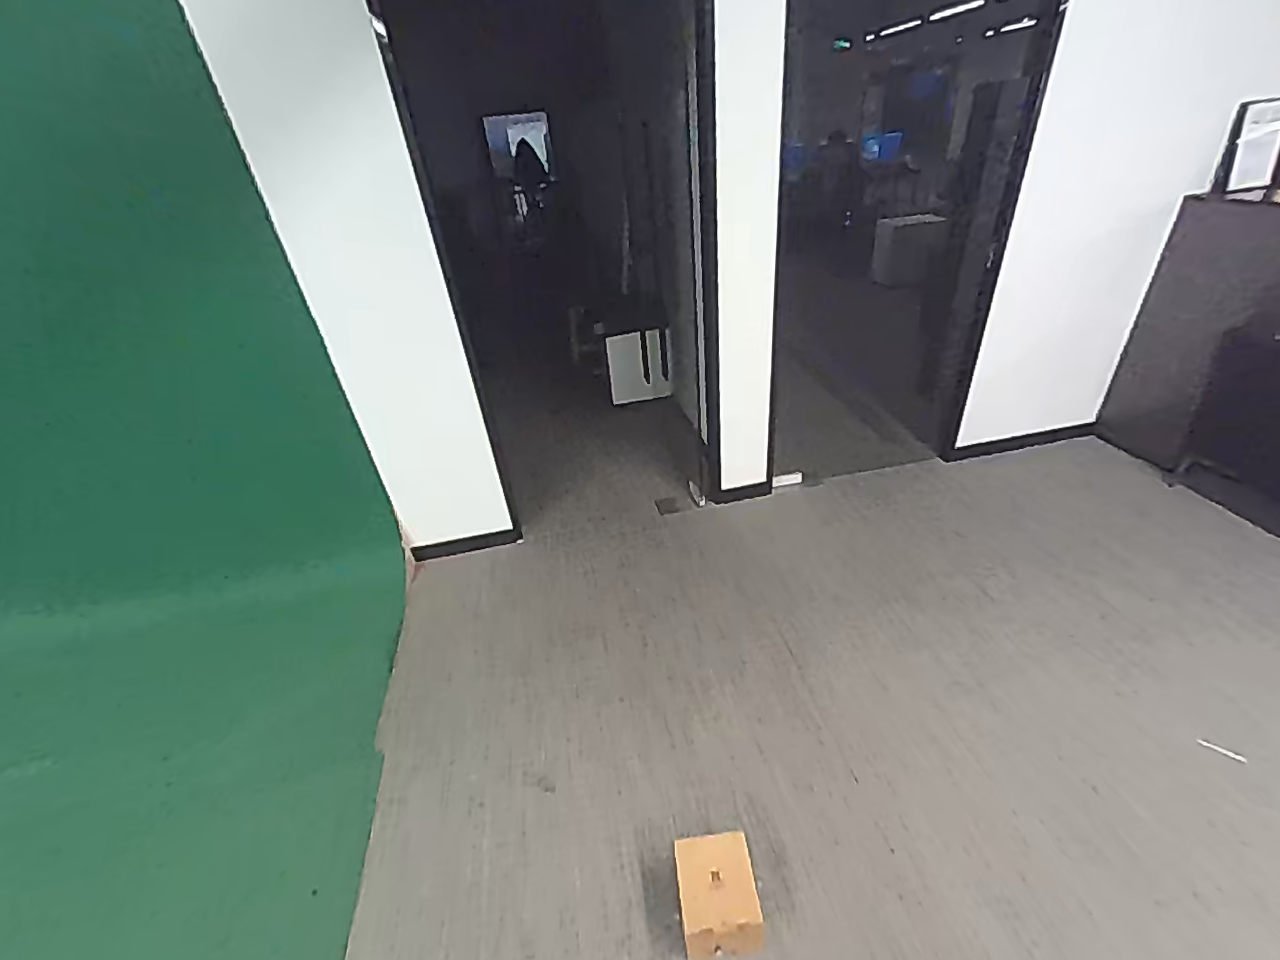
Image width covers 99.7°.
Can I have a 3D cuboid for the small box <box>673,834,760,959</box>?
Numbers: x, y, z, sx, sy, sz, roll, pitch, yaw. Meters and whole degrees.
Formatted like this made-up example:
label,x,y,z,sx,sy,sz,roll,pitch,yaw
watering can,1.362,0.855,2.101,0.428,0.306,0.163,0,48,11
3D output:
label,x,y,z,sx,sy,sz,roll,pitch,yaw
small box,0.164,0.937,1.215,0.168,0.176,0.179,-6,33,-1
